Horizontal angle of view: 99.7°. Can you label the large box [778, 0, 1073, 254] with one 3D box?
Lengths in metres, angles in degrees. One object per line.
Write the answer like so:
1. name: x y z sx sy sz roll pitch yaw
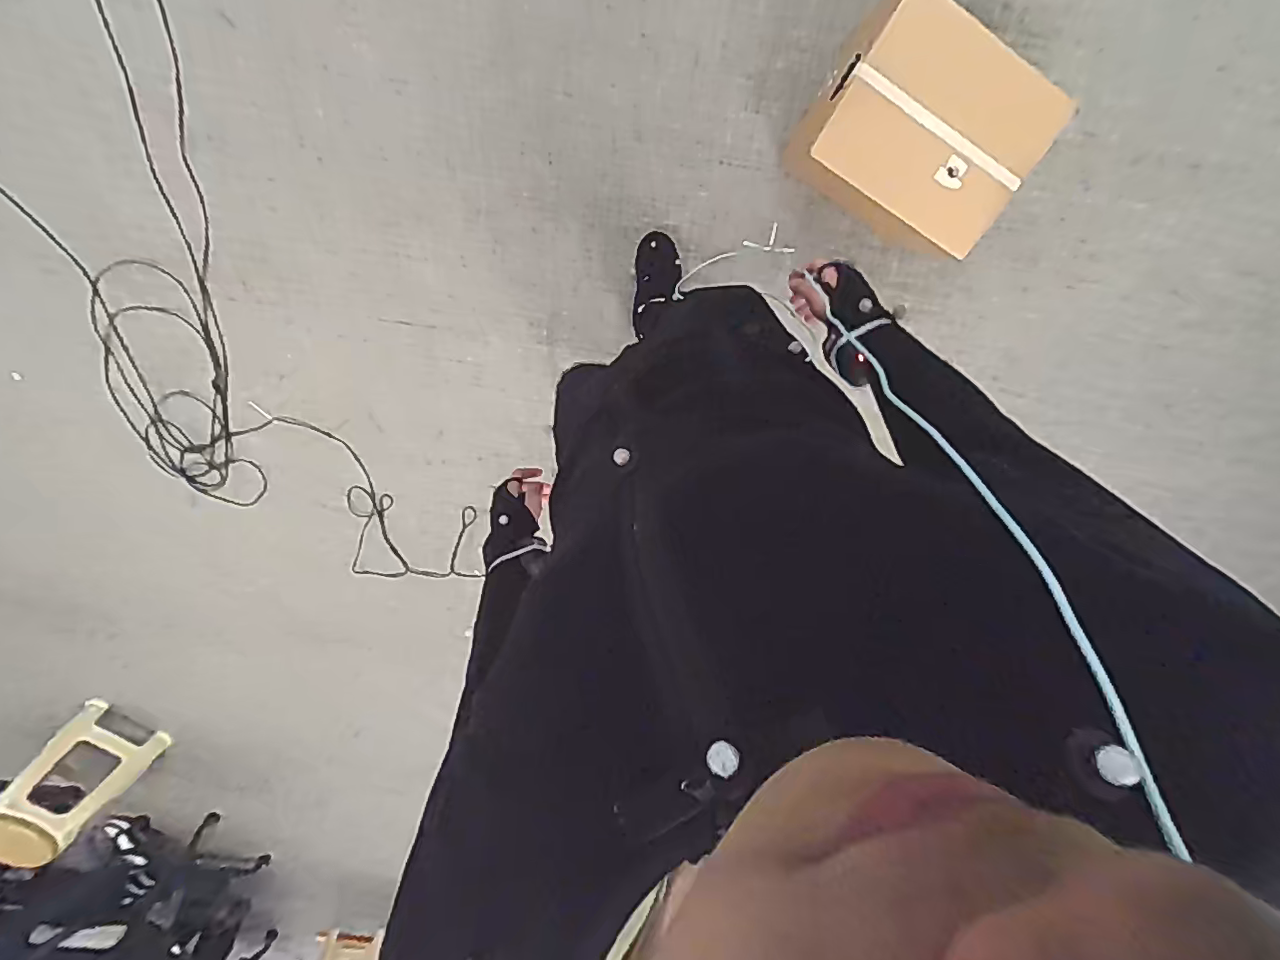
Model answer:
1. large box: 0.576 -0.743 1.174 0.408 0.320 0.320 27 114 -11
